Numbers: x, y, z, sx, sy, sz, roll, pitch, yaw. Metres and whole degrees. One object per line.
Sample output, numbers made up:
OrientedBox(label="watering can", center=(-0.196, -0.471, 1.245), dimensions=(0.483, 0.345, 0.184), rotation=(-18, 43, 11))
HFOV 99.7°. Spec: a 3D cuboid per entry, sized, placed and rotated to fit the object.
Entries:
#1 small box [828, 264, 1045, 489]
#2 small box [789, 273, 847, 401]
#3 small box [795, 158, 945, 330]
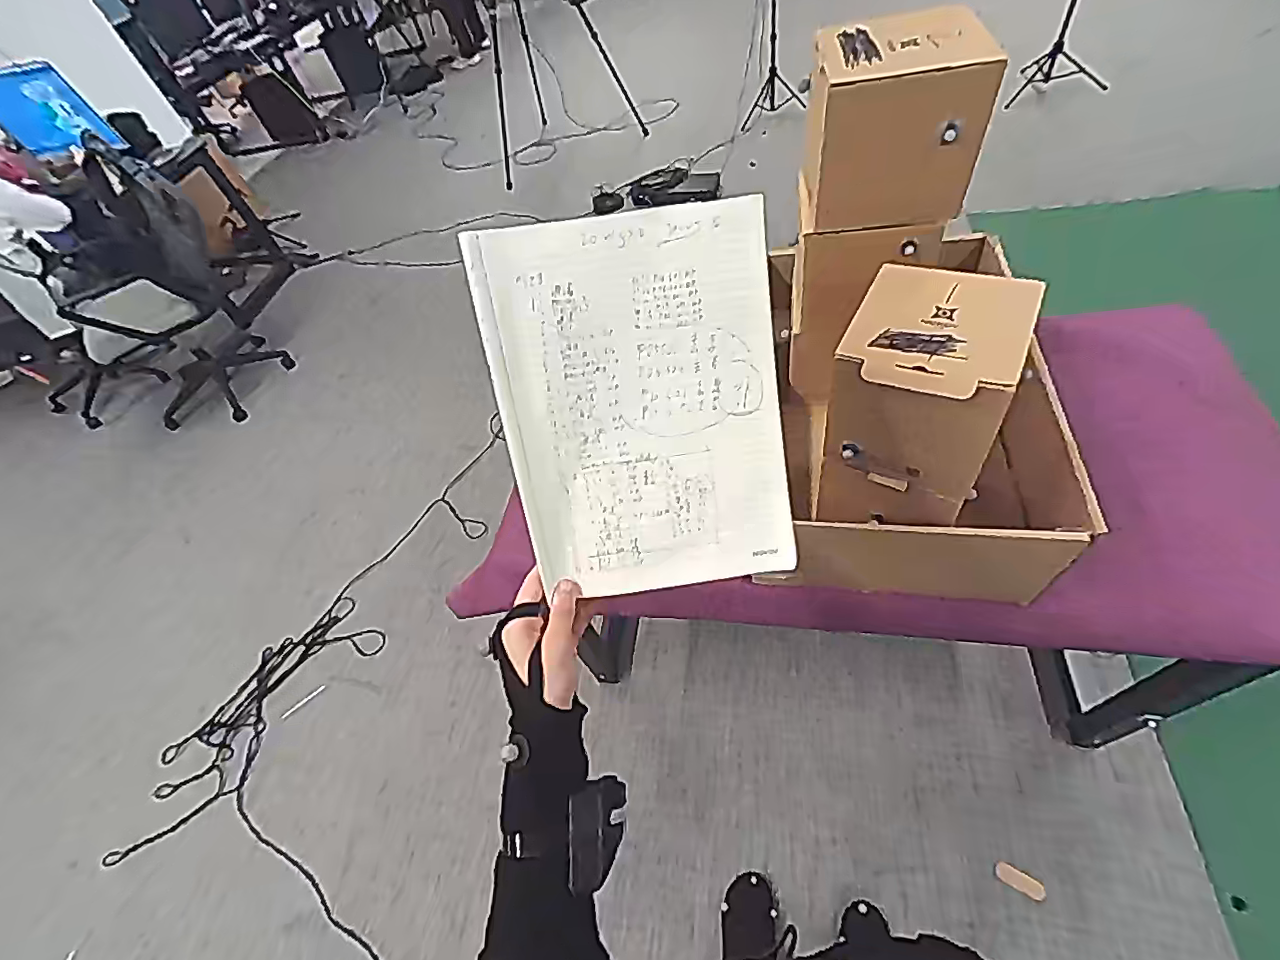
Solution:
OrientedBox(label="small box", center=(0.325, -0.117, 0.619), dimensions=(0.168, 0.176, 0.179), rotation=(20, 59, 27))
OrientedBox(label="small box", center=(0.345, -0.248, 0.927), dimensions=(0.168, 0.176, 0.179), rotation=(2, 56, 15))
OrientedBox(label="small box", center=(0.320, -0.338, 0.795), dimensions=(0.179, 0.176, 0.168), rotation=(0, 55, 13))
